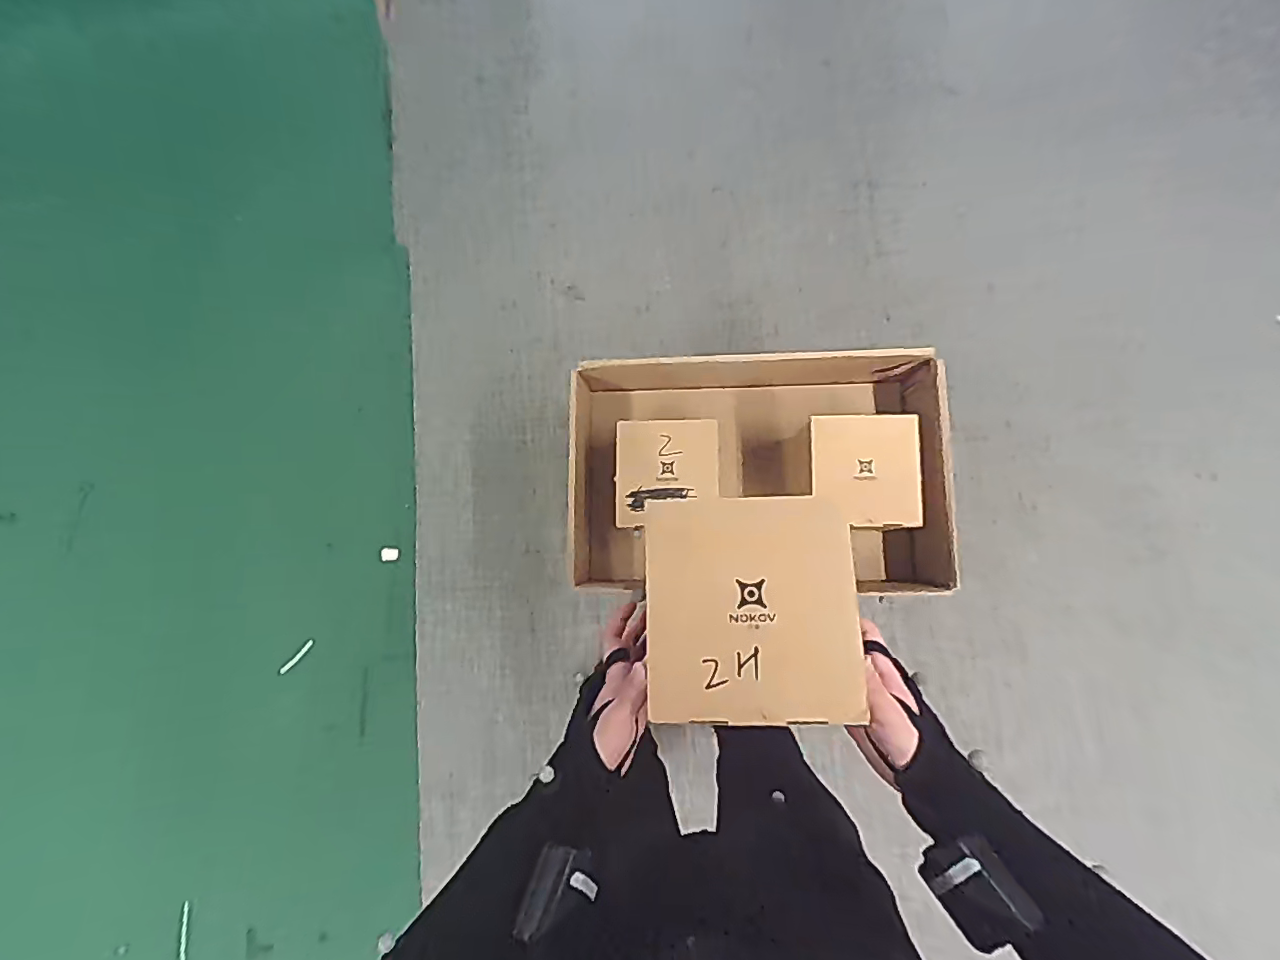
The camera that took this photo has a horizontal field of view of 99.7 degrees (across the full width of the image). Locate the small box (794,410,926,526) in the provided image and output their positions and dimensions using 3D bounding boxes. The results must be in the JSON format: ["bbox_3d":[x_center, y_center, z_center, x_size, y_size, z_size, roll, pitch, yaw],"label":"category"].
[{"bbox_3d":[0.358,-0.013,0.911,0.168,0.176,0.179,-1,84,6],"label":"small box"}]

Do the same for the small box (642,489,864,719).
[{"bbox_3d":[0.090,0.114,0.499,0.168,0.176,0.179,-2,75,6],"label":"small box"}]
